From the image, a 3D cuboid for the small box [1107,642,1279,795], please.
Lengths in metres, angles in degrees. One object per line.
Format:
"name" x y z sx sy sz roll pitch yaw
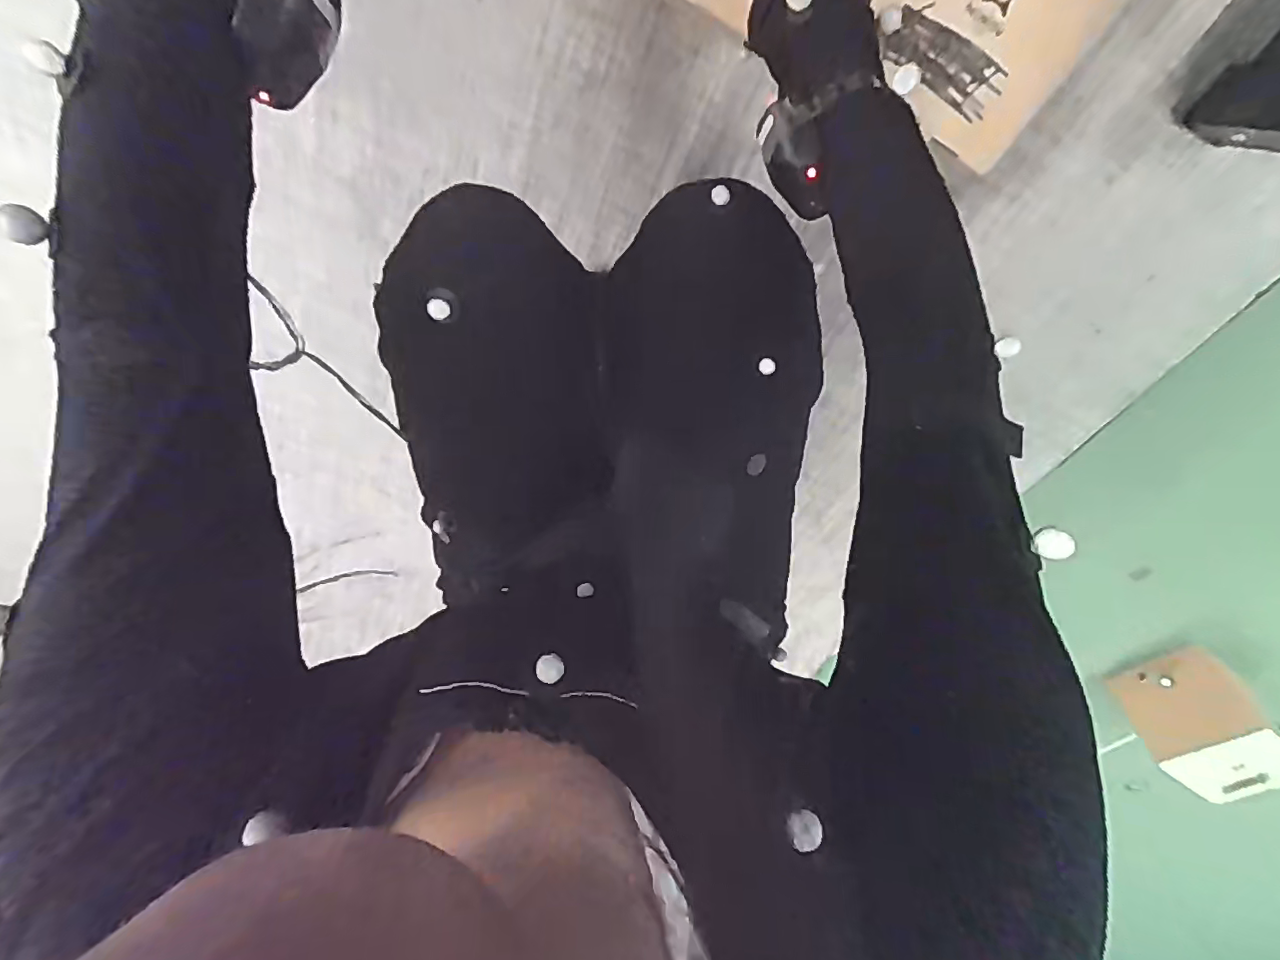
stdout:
"small box" 1.005 0.421 0.964 0.179 0.176 0.168 33 123 -14
